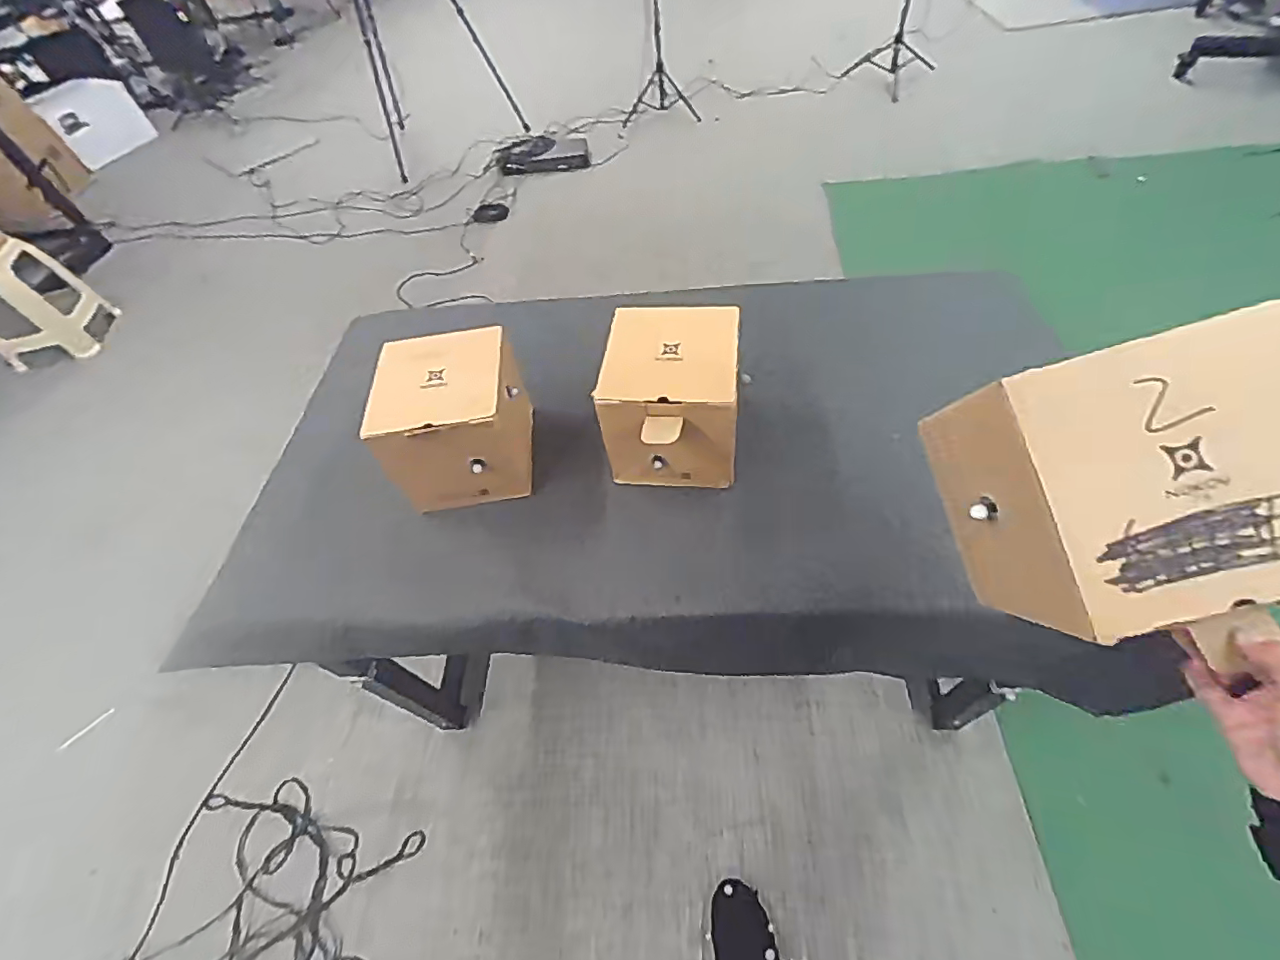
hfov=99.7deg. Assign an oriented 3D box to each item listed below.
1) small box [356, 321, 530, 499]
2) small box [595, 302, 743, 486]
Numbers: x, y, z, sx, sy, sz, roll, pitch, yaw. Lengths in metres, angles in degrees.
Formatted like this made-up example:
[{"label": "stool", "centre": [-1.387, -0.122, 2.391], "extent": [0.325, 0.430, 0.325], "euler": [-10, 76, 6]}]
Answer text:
[{"label": "small box", "centre": [-0.252, -0.088, 0.740], "extent": [0.168, 0.176, 0.179], "euler": [-8, 52, 0]}, {"label": "small box", "centre": [0.046, -0.115, 0.723], "extent": [0.168, 0.176, 0.179], "euler": [3, 55, 9]}]
